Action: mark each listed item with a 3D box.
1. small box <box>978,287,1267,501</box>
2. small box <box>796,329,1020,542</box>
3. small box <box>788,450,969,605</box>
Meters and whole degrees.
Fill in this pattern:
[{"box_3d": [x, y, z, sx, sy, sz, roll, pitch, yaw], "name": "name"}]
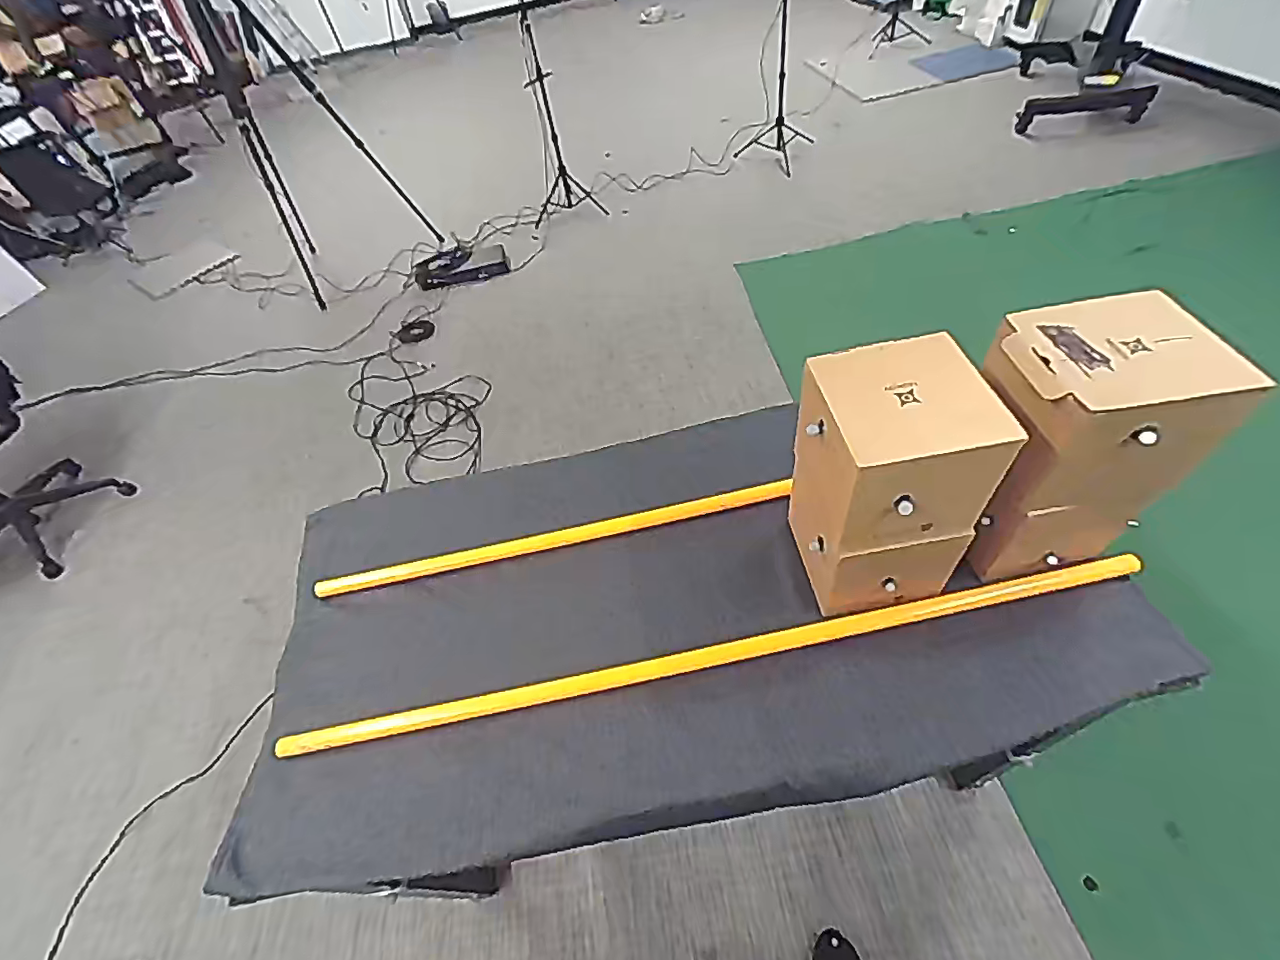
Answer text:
[{"box_3d": [0.513, -0.092, 0.625, 0.179, 0.176, 0.168, -9, 52, 3], "name": "small box"}, {"box_3d": [0.289, -0.043, 0.632, 0.168, 0.176, 0.179, -11, 50, 3], "name": "small box"}, {"box_3d": [0.314, 0.060, 0.755, 0.168, 0.176, 0.179, -10, 51, 2], "name": "small box"}]
